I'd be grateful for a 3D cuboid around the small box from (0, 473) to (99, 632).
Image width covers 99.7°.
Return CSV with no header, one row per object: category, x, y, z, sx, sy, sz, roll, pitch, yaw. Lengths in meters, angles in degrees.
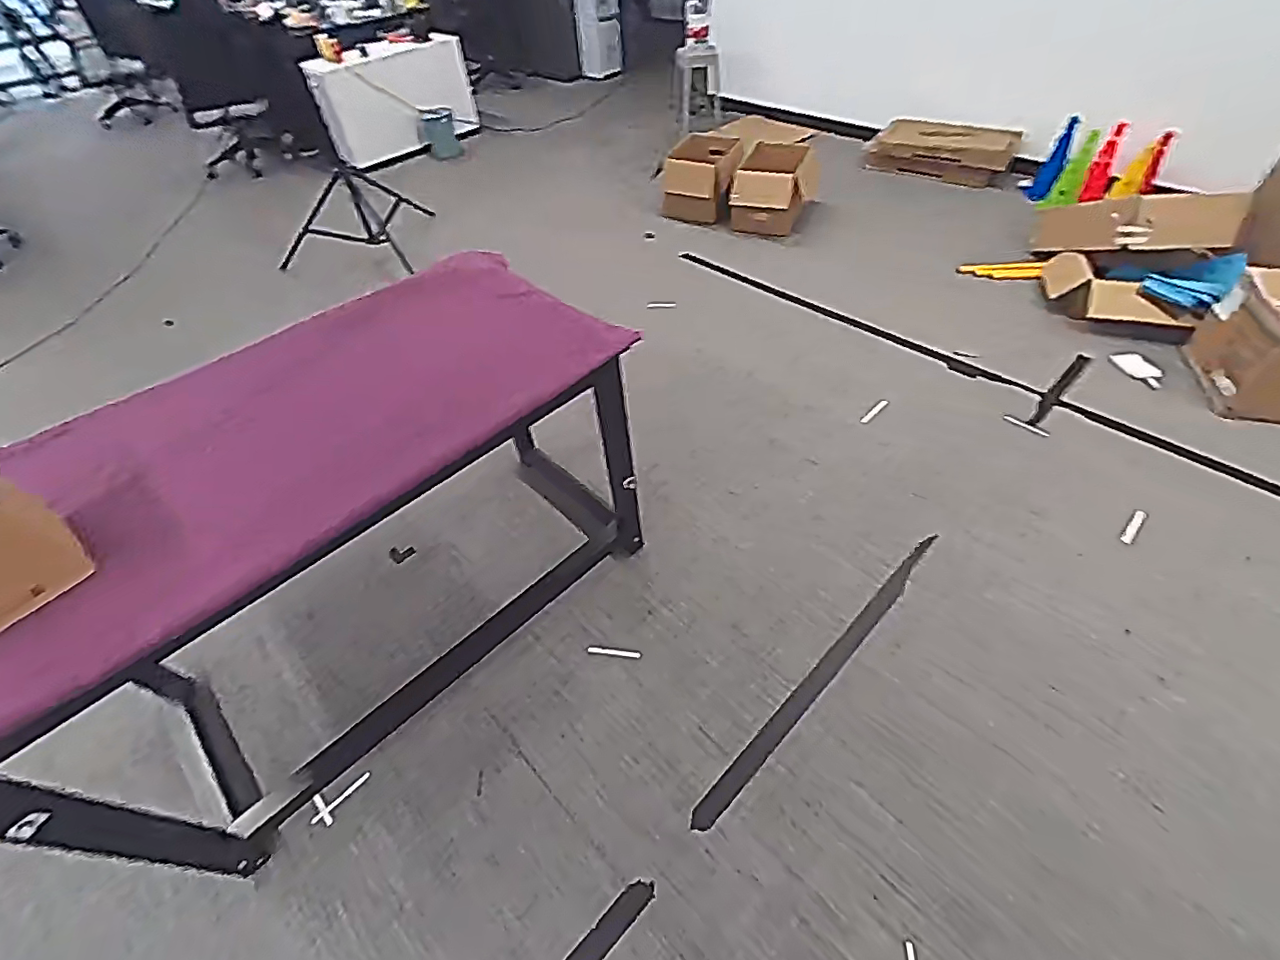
small box,-0.917,0.097,0.744,0.179,0.176,0.168,29,57,26
